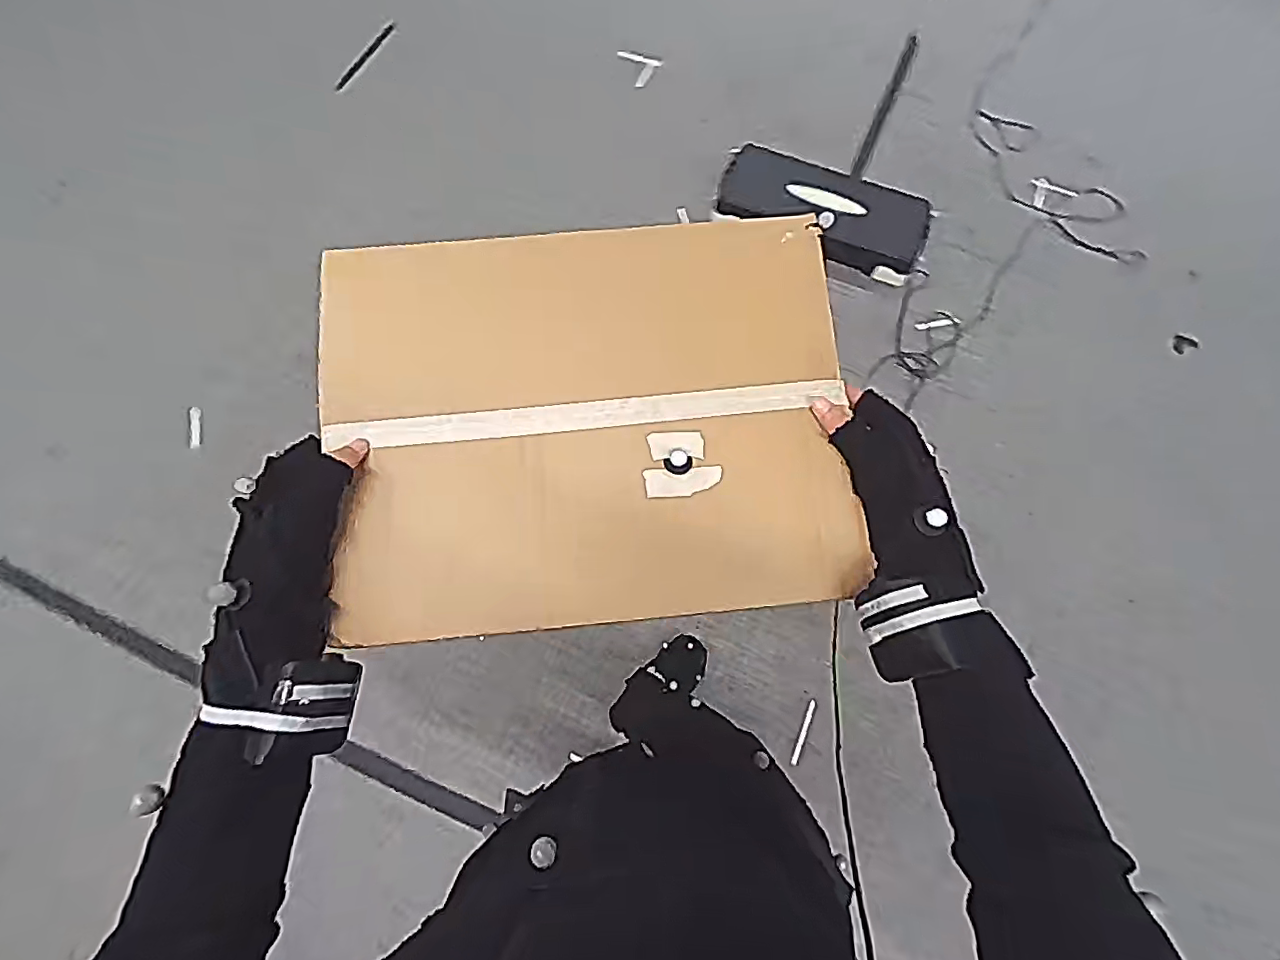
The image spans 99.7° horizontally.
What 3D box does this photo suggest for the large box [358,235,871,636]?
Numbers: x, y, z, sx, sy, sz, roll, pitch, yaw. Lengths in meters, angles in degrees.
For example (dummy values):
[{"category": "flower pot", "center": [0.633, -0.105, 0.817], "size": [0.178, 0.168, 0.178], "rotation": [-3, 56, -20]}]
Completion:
[{"category": "large box", "center": [-0.032, -0.022, 0.587], "size": [0.408, 0.320, 0.320], "rotation": [-4, 81, -2]}]
